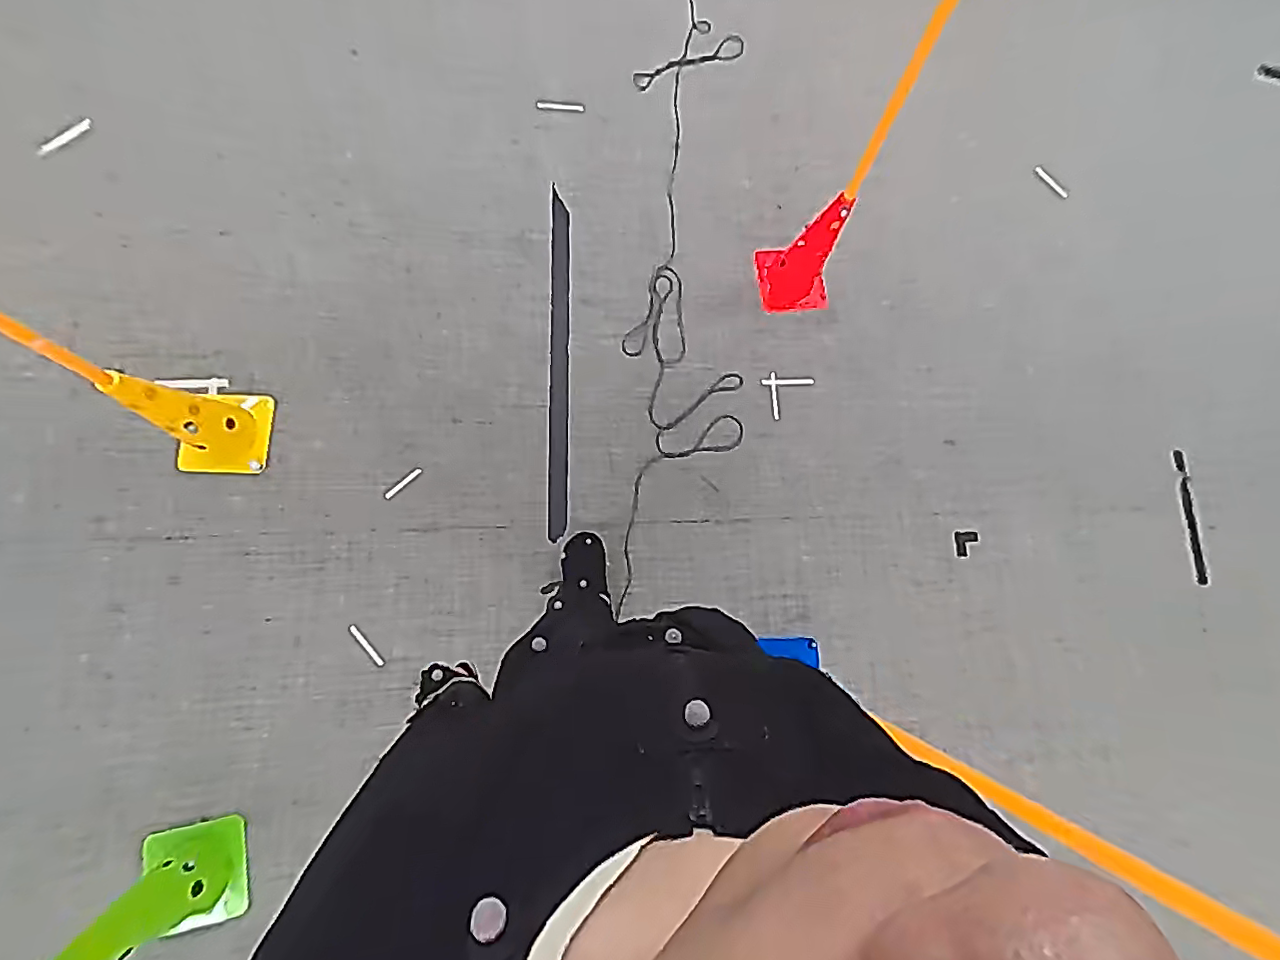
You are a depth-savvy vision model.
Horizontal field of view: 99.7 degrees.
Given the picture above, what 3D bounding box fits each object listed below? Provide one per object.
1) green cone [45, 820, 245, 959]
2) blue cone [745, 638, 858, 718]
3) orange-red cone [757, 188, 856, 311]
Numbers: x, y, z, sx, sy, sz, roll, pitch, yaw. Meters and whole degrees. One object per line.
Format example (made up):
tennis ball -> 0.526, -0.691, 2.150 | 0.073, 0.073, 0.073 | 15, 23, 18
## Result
green cone -> -0.923, 0.805, 0.970 | 0.200, 0.368, 0.202 | -11, 78, -9
blue cone -> 0.378, 0.463, 1.201 | 0.193, 0.380, 0.192 | 2, 78, -6
orange-red cone -> 0.464, -0.623, 1.420 | 0.199, 0.360, 0.198 | -6, 79, -6
